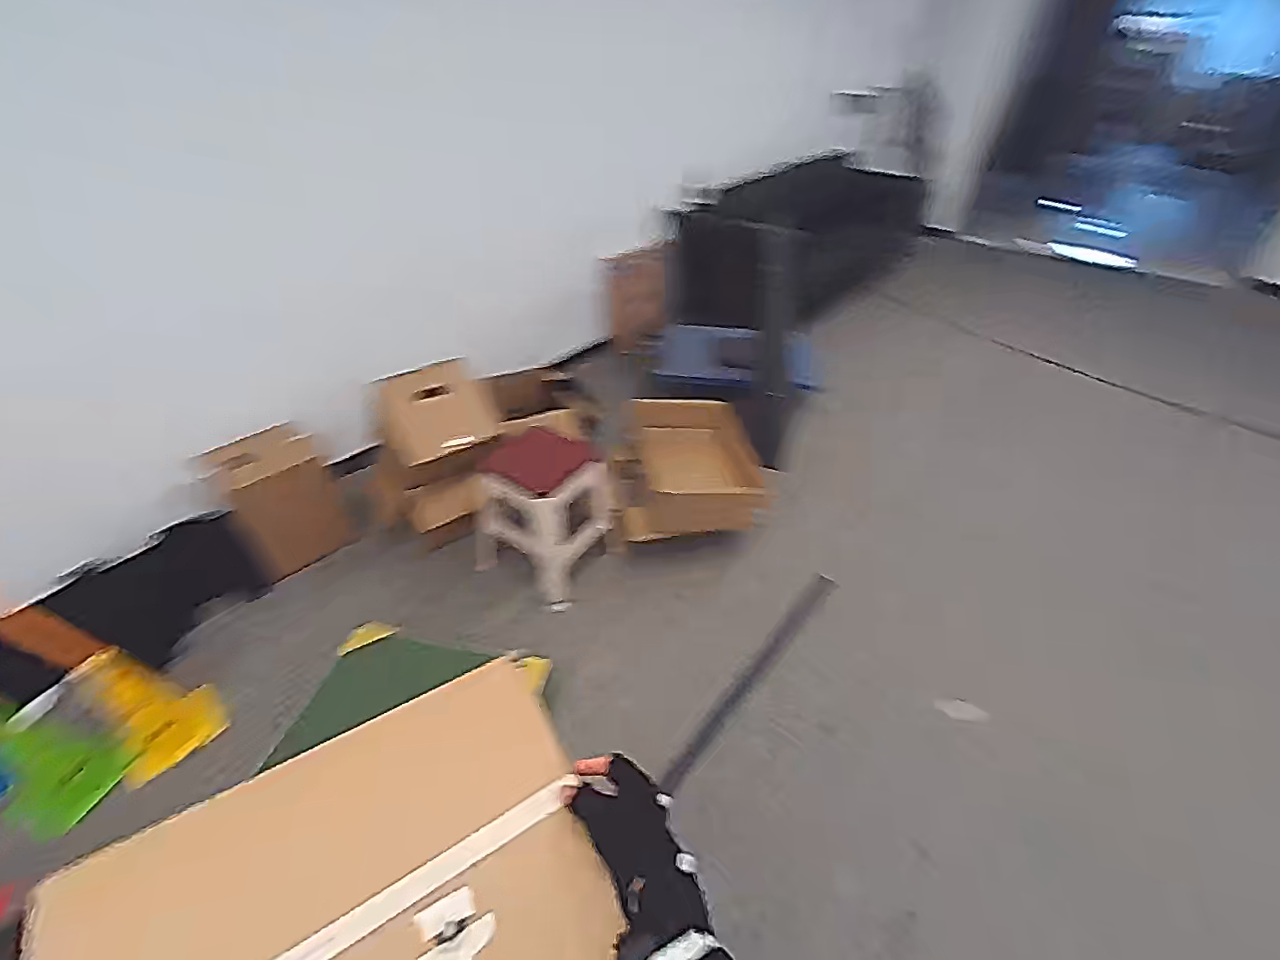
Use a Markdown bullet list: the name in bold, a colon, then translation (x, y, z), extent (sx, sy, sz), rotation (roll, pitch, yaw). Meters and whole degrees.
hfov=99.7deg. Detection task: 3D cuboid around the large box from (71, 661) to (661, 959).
- **large box**: translation (-0.239, 0.471, 0.555), extent (0.408, 0.320, 0.320), rotation (-20, 52, -25)
